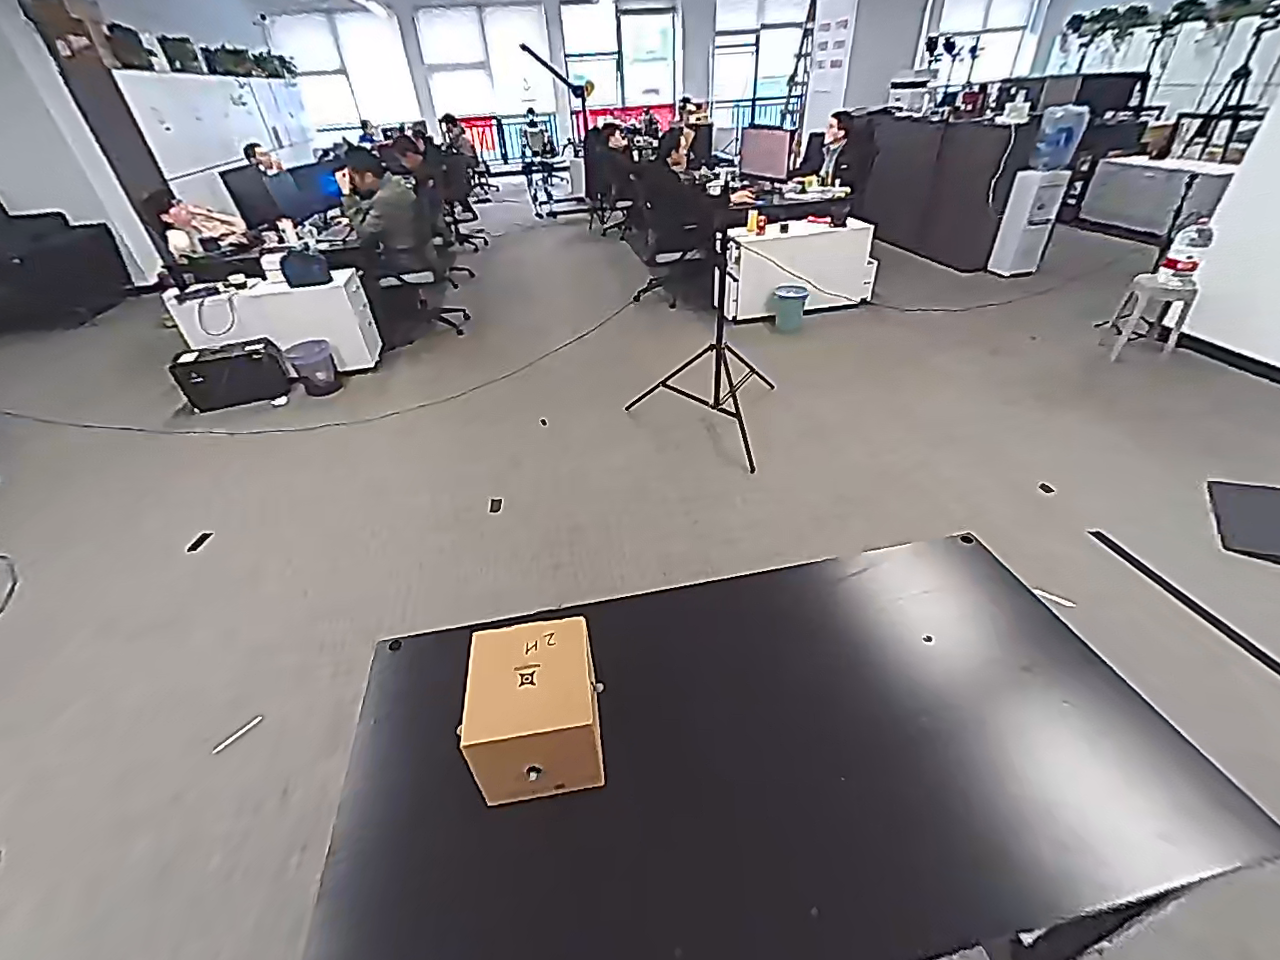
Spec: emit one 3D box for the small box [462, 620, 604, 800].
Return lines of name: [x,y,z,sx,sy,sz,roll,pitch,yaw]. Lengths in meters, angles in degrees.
small box: [-0.146,0.335,0.783,0.168,0.176,0.179,-8,35,-5]
